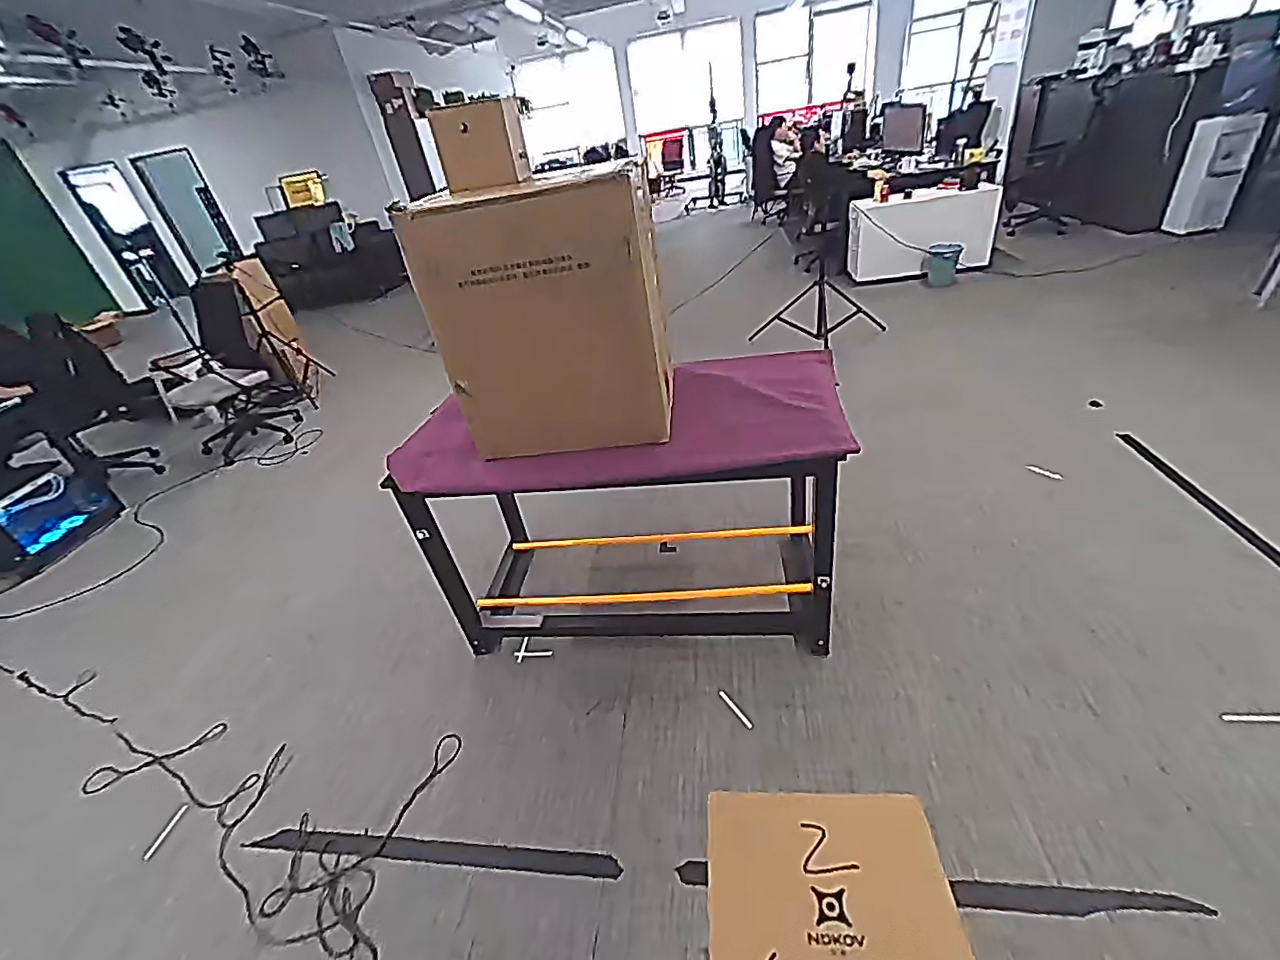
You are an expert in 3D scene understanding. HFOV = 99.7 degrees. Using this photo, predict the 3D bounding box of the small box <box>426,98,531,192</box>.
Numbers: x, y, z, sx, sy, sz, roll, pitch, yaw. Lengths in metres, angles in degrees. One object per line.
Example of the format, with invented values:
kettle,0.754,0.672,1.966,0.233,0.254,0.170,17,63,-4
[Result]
small box,-0.379,-0.804,1.303,0.179,0.176,0.168,-5,34,6
